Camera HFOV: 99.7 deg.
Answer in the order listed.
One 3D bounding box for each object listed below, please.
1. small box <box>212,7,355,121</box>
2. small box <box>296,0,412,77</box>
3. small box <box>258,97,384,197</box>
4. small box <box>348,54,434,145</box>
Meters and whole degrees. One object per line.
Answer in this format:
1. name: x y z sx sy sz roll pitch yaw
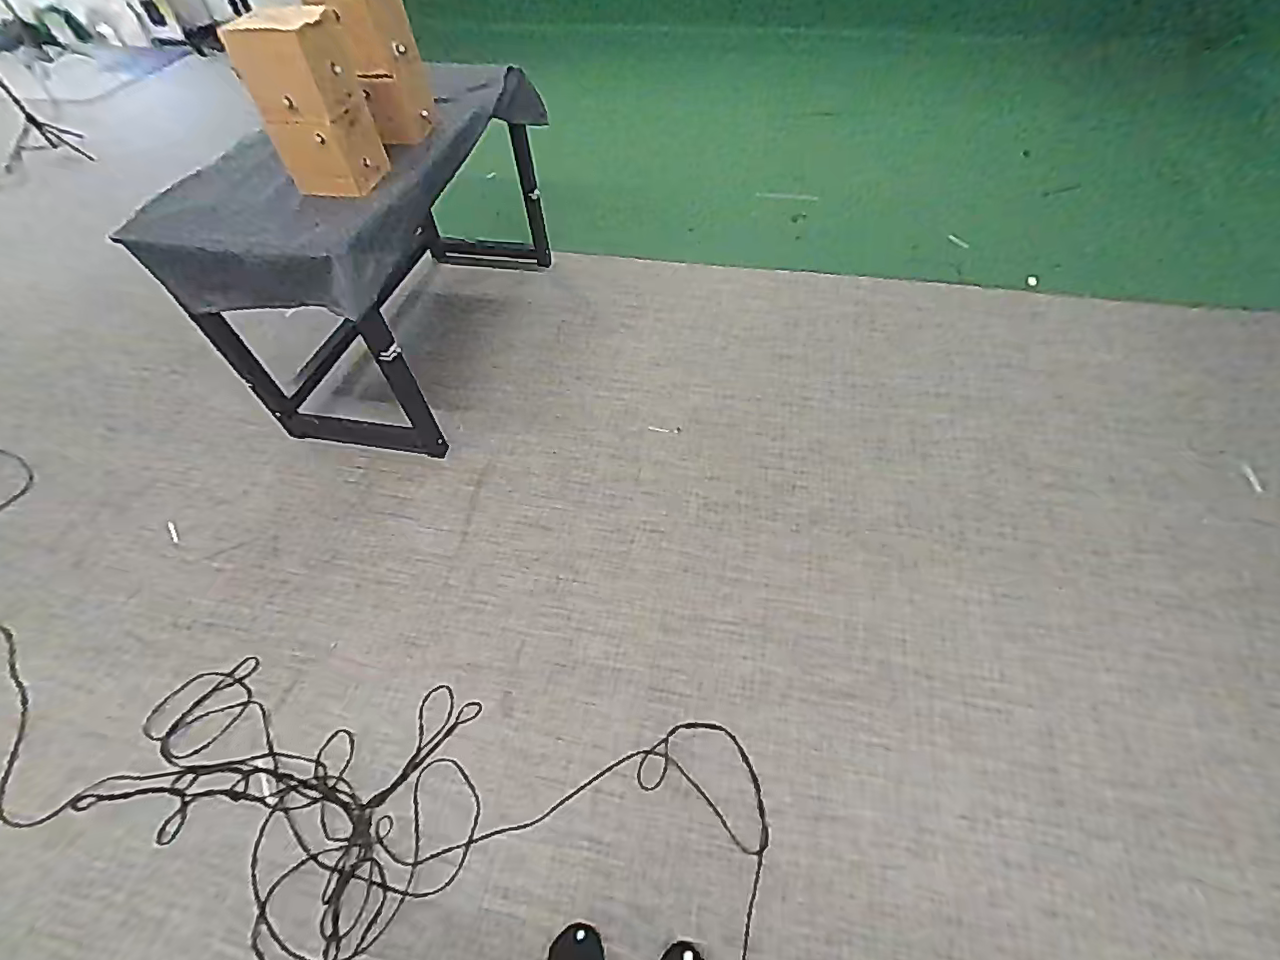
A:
1. small box: -0.777 -0.921 1.204 0.179 0.176 0.168 5 53 5
2. small box: -0.718 -1.150 1.371 0.179 0.176 0.168 8 56 9
3. small box: -0.774 -0.819 1.332 0.179 0.176 0.168 6 53 7
4. small box: -0.709 -1.056 1.503 0.179 0.176 0.168 7 54 8
